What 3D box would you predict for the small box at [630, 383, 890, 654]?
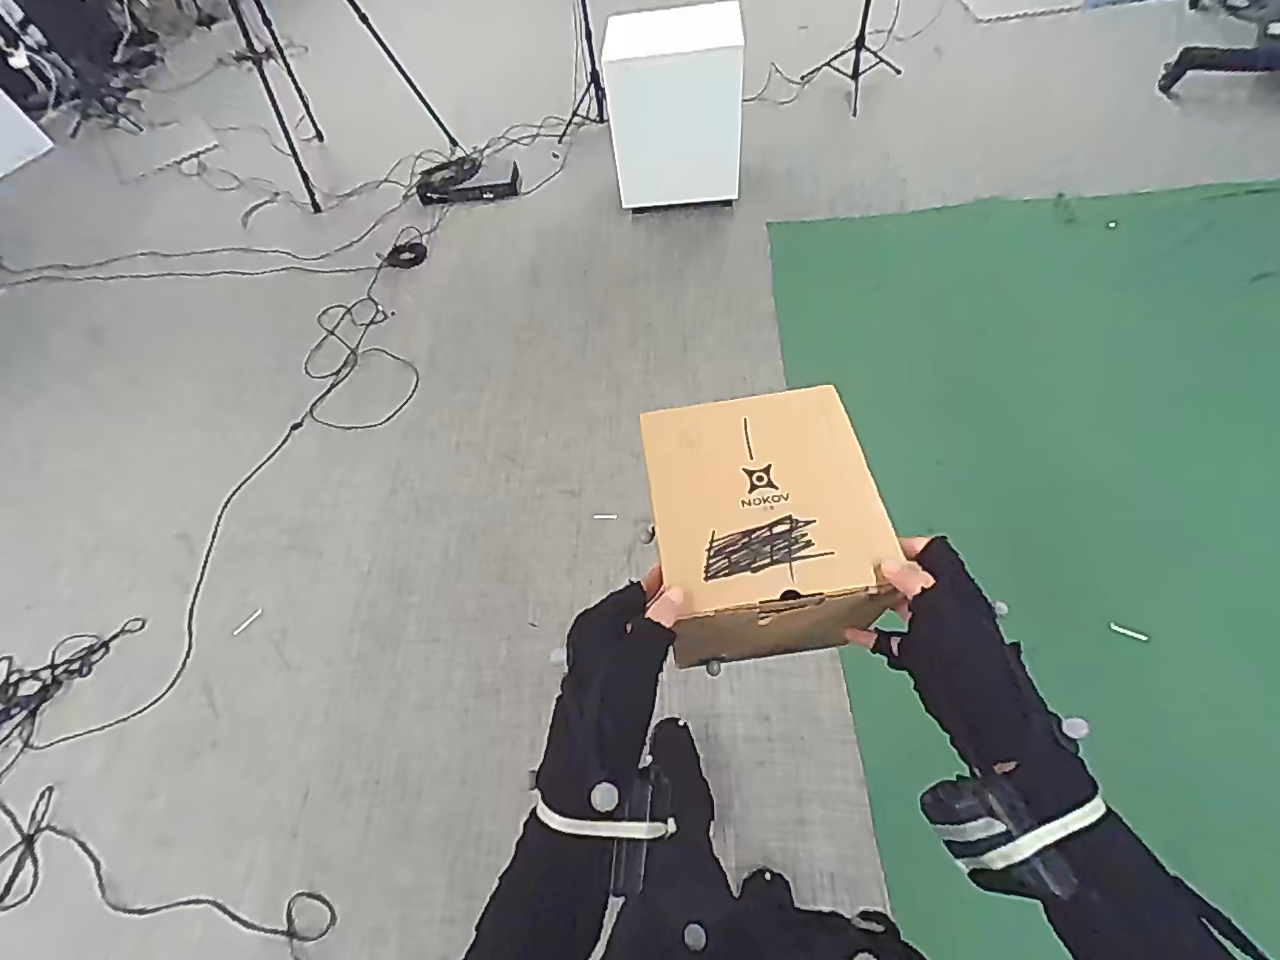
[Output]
[{"bbox_3d":[0.088,0.045,0.474,0.168,0.176,0.179,-8,58,1],"label":"small box"}]
